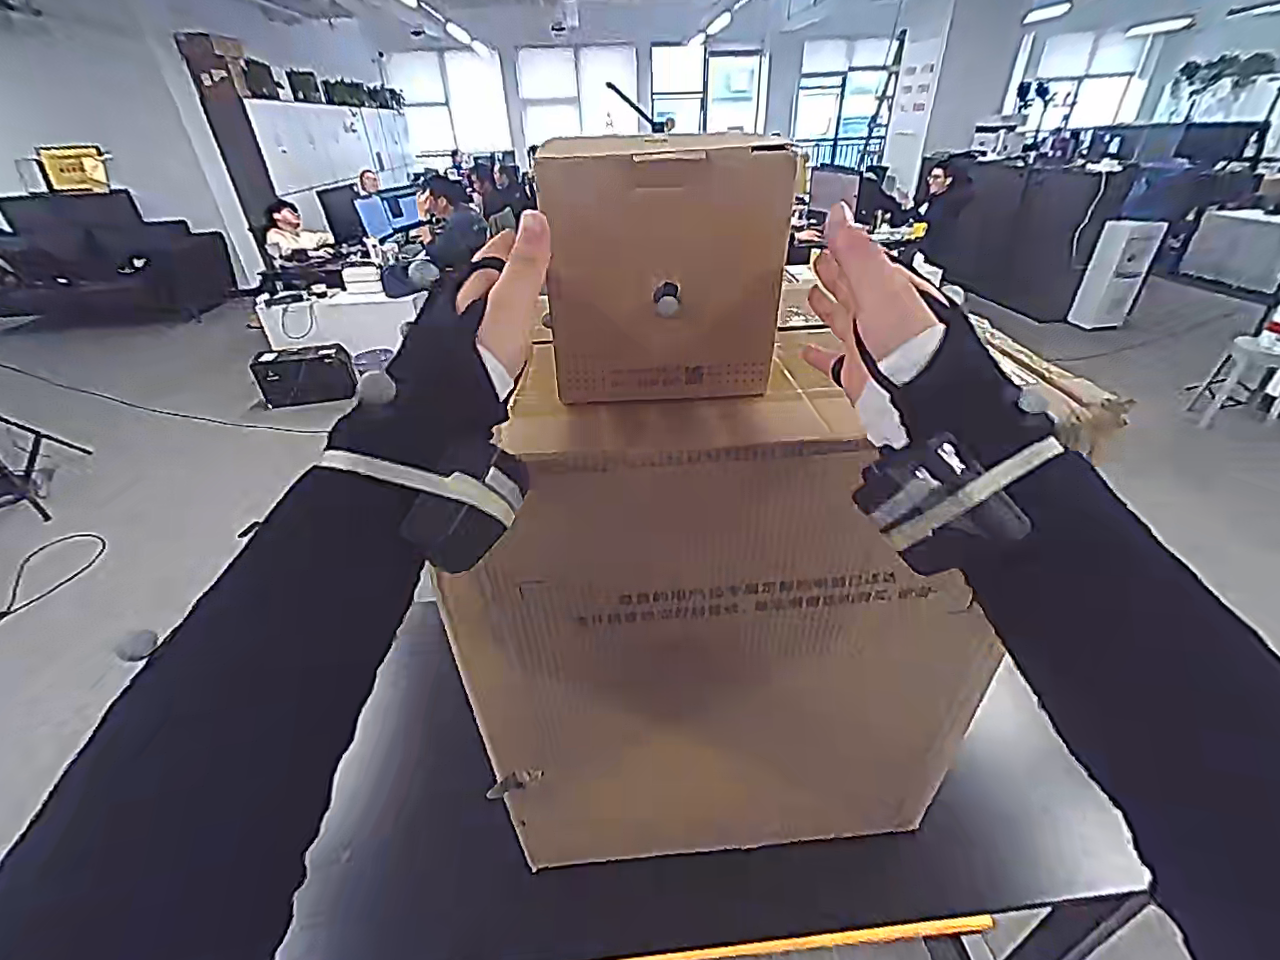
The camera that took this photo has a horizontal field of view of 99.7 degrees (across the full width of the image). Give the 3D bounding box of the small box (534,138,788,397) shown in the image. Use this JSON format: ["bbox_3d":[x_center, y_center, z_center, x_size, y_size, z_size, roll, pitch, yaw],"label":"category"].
[{"bbox_3d":[0.013,-0.177,0.451,0.168,0.176,0.179,-3,35,-2],"label":"small box"}]
